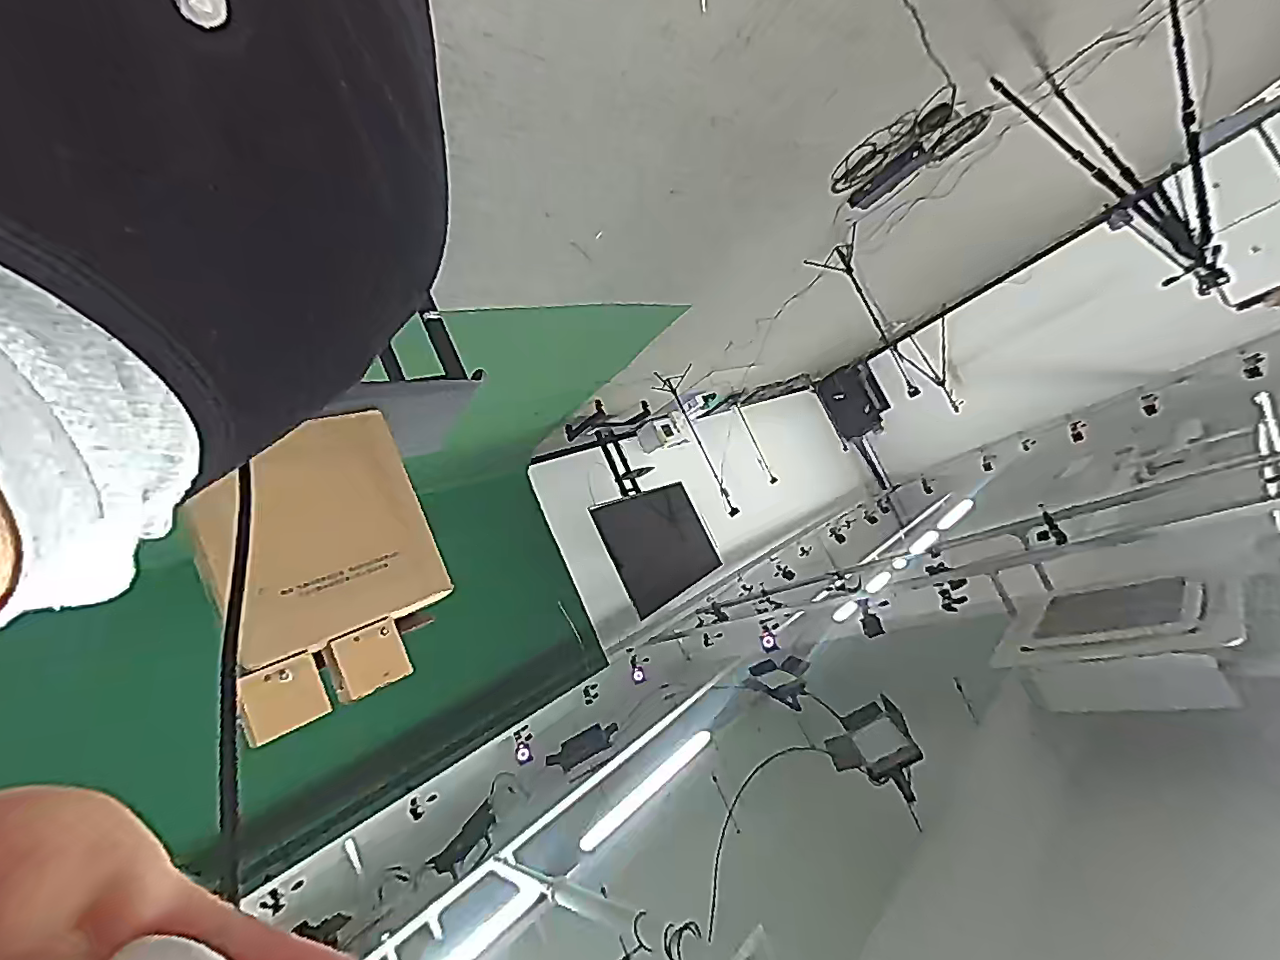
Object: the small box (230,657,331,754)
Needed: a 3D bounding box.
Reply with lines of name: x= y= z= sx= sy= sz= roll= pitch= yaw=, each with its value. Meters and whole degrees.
small box: x=-0.919 y=0.570 z=1.378 sx=0.168 sy=0.176 sz=0.179 roll=-20 pitch=171 yaw=-43
